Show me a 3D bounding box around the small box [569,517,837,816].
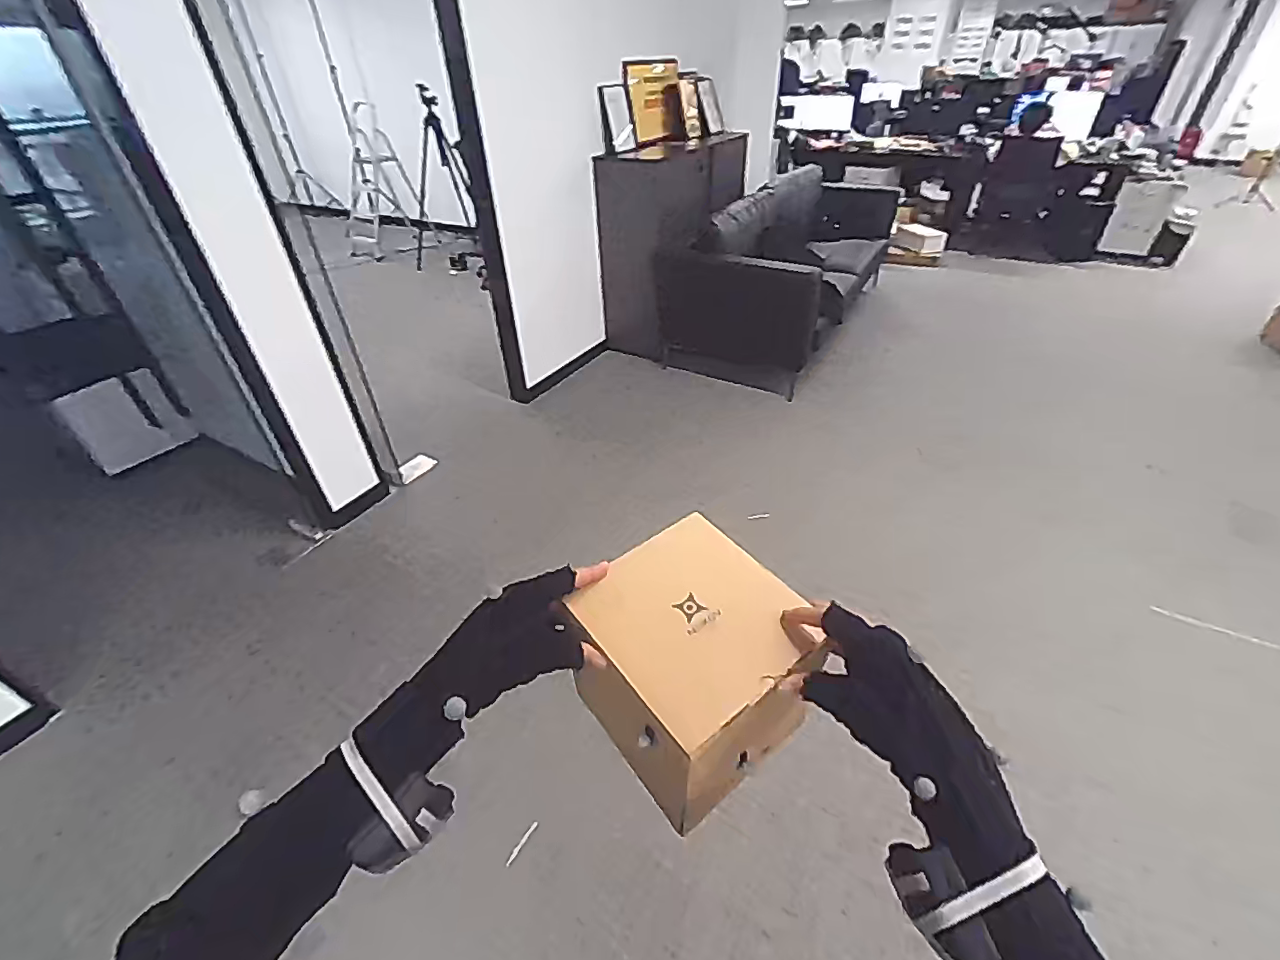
[{"bbox_3d":[0.050,0.174,0.519,0.168,0.176,0.179,-27,49,-27],"label":"small box"}]
